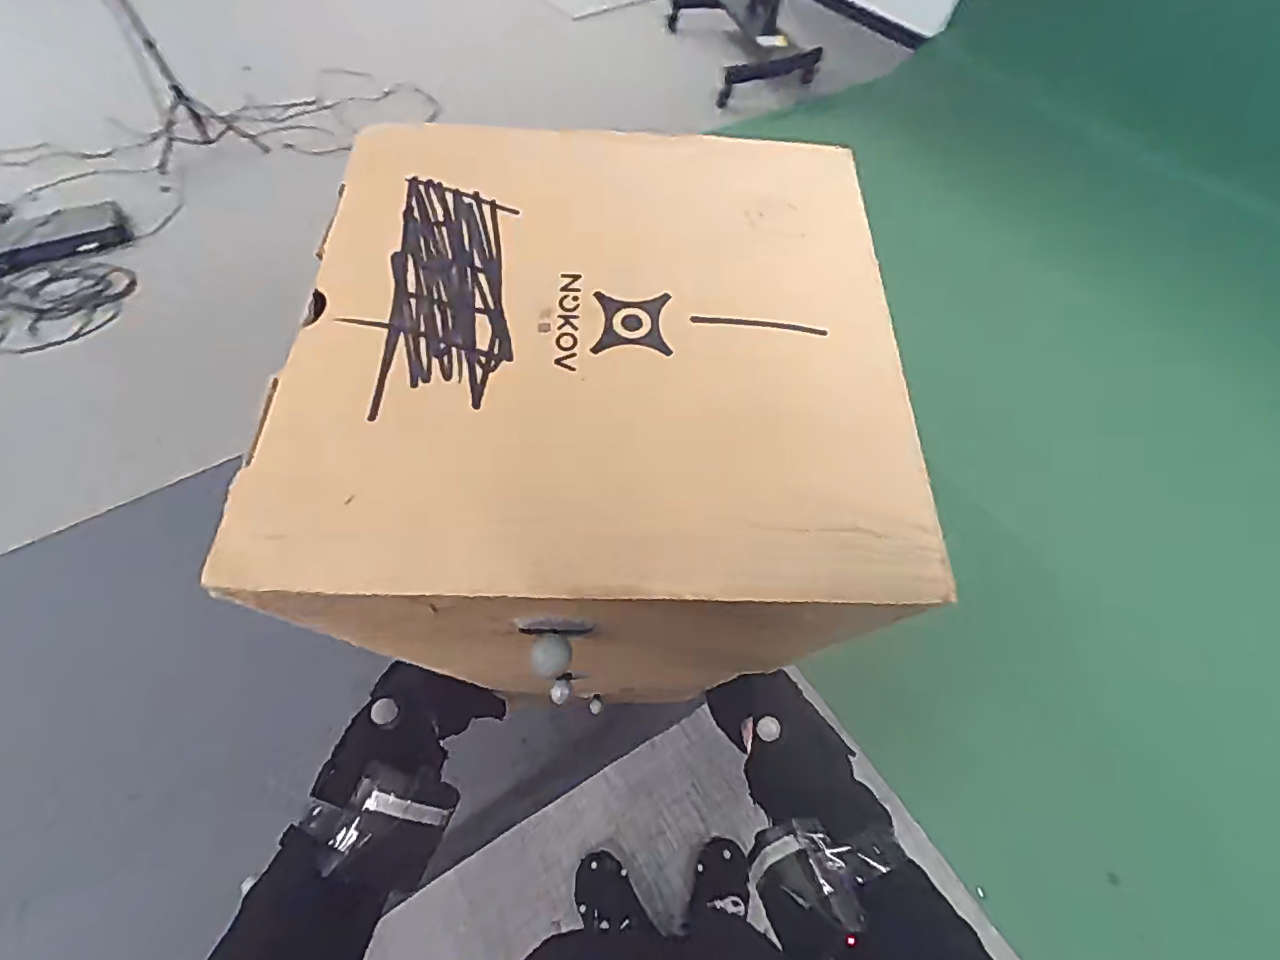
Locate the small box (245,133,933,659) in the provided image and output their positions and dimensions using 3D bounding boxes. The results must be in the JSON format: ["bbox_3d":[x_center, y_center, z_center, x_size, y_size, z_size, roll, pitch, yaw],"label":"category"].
[{"bbox_3d":[-0.013,-0.016,0.240,0.179,0.176,0.168,2,66,-2],"label":"small box"}]

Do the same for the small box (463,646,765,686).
[{"bbox_3d":[-0.021,0.049,0.394,0.168,0.176,0.179,-1,66,-4],"label":"small box"}]
